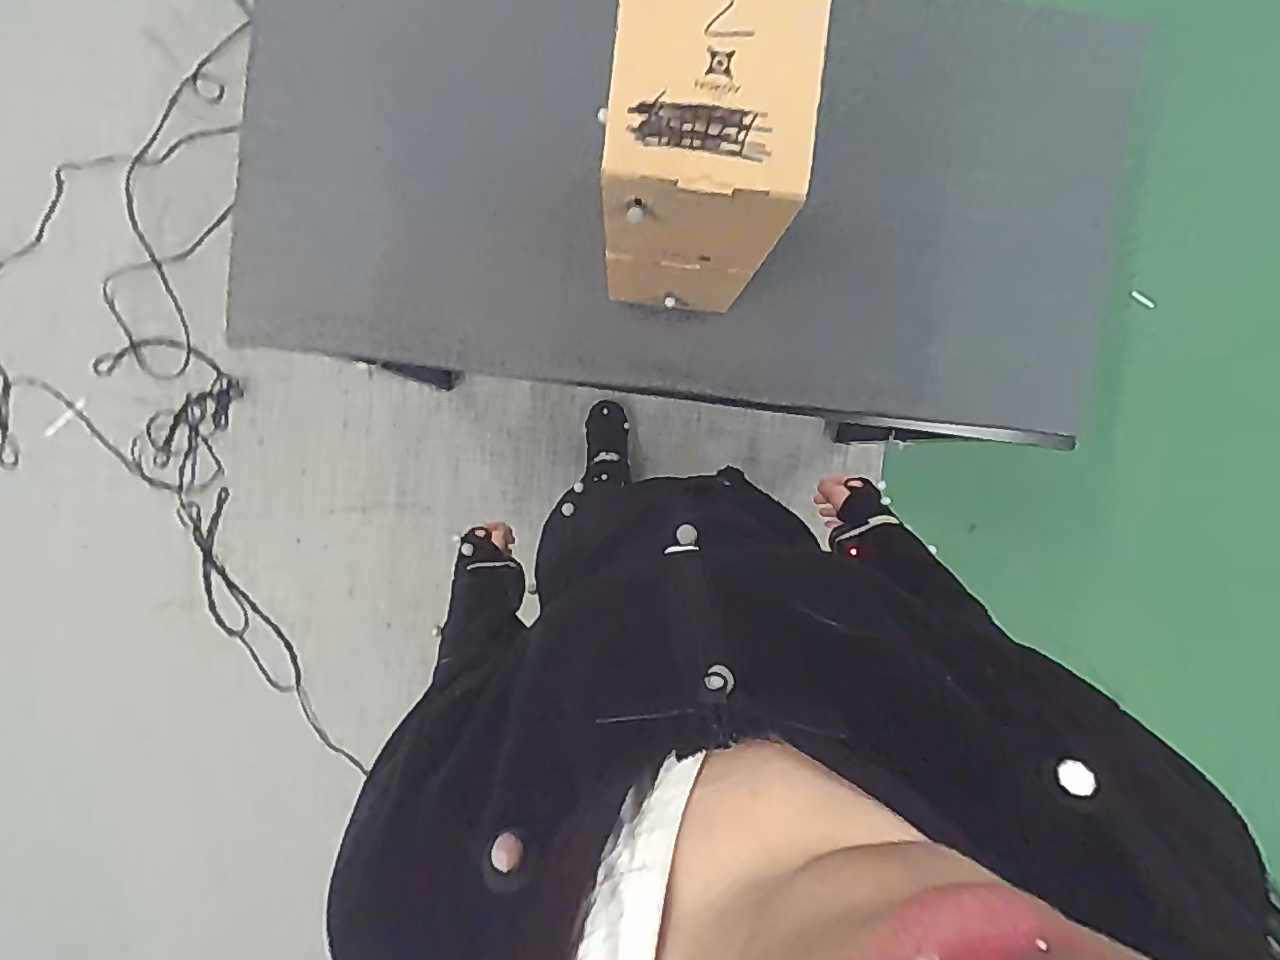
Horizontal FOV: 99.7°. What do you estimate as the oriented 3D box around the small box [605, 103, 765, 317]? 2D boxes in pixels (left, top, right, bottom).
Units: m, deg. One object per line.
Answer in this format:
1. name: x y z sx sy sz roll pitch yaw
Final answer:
1. small box: 0.046 -0.319 0.674 0.168 0.176 0.179 5 92 -2
